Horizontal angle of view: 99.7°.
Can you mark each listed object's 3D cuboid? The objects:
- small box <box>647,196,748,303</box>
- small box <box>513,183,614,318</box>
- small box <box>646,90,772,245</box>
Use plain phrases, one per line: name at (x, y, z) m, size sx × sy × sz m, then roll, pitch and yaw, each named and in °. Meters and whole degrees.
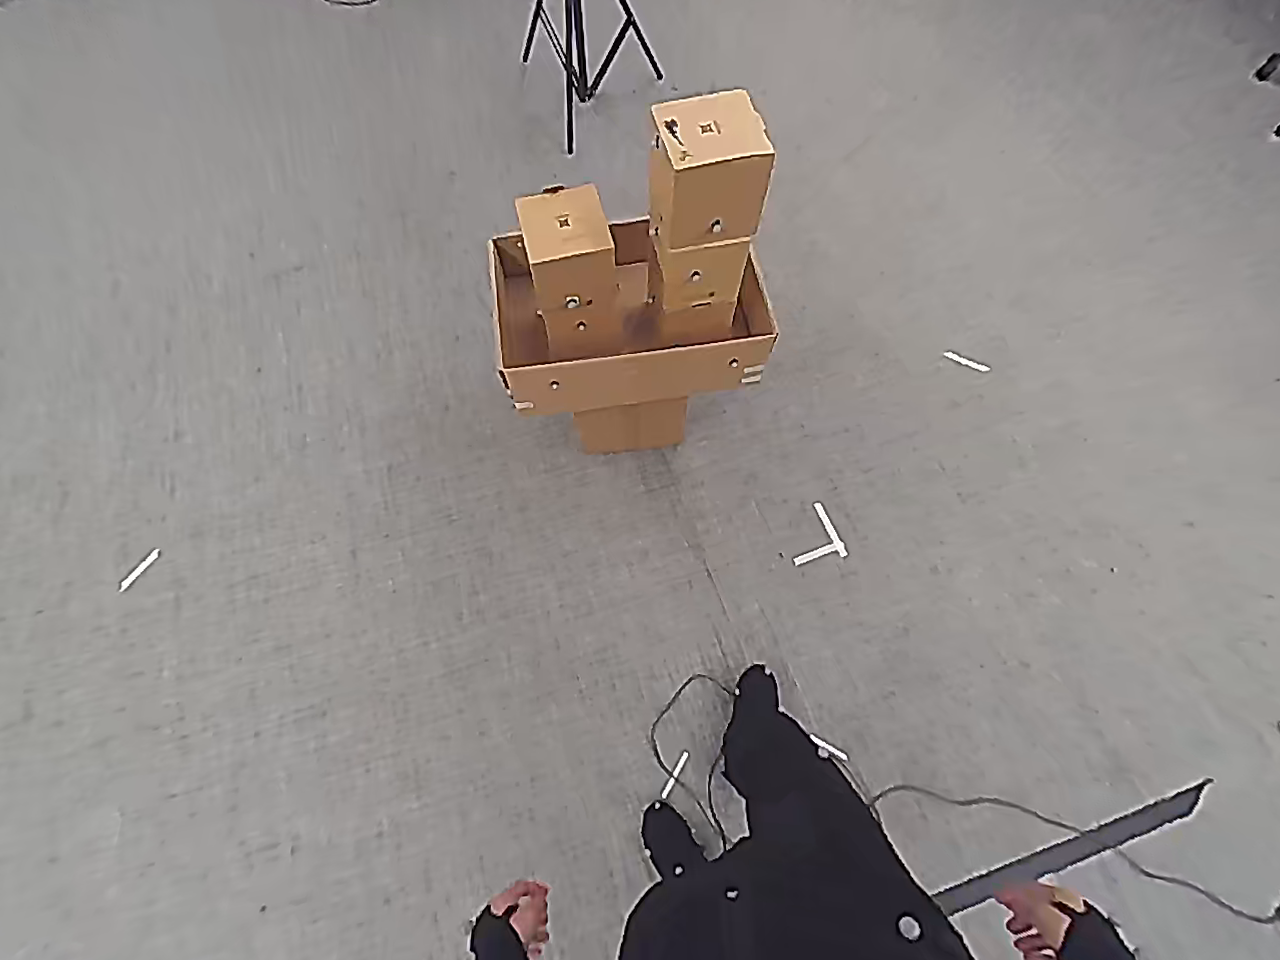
small box at (0.111, -0.490, 1.124) m, size 0.168 × 0.176 × 0.179 m, roll -11°, pitch 67°, yaw -5°
small box at (-0.153, -0.466, 1.111) m, size 0.168 × 0.176 × 0.179 m, roll -14°, pitch 68°, yaw -5°
small box at (0.113, -0.555, 0.973) m, size 0.179 × 0.176 × 0.168 m, roll -12°, pitch 67°, yaw -6°
